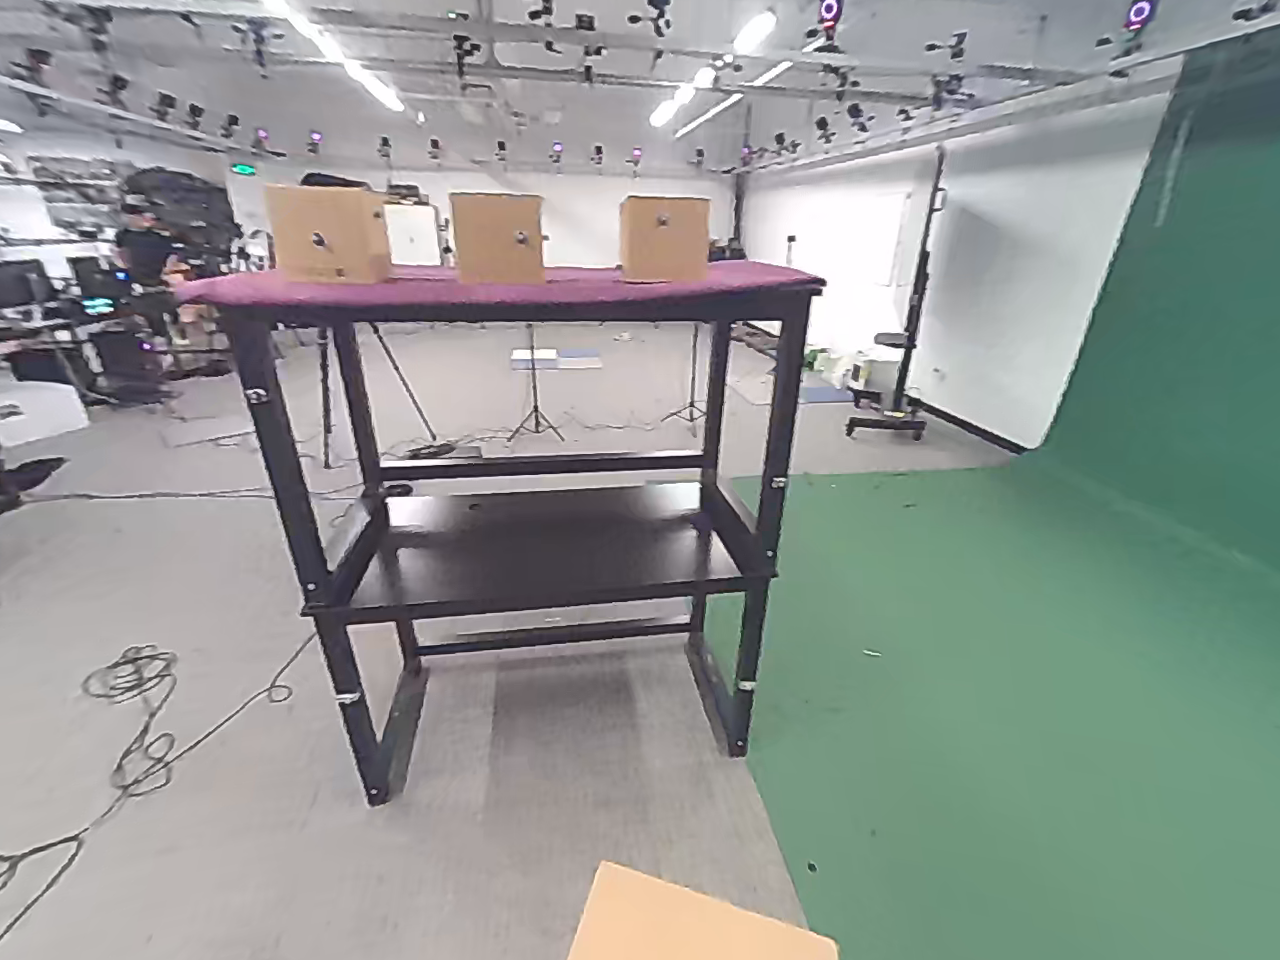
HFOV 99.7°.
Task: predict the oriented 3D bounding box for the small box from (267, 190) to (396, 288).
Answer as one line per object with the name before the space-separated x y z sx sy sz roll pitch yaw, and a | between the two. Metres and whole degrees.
small box | -0.602 -0.481 1.083 0.168 0.176 0.179 -2 25 -10

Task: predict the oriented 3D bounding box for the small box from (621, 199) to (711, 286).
small box | 0.054 -0.526 1.214 0.179 0.176 0.168 -2 23 -8

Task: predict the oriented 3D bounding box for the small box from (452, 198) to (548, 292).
small box | -0.286 -0.496 1.142 0.179 0.176 0.168 -4 25 -9
